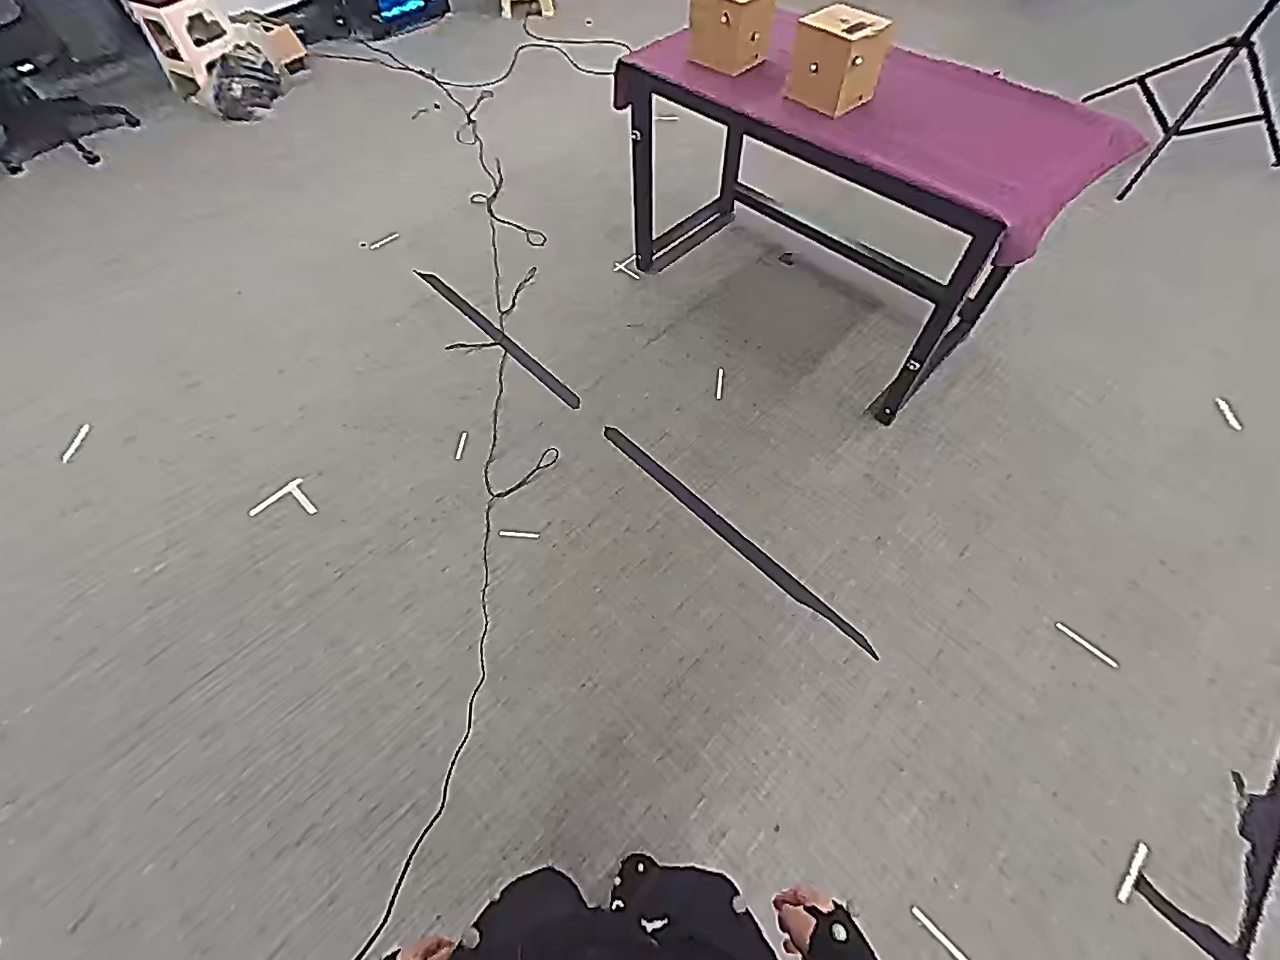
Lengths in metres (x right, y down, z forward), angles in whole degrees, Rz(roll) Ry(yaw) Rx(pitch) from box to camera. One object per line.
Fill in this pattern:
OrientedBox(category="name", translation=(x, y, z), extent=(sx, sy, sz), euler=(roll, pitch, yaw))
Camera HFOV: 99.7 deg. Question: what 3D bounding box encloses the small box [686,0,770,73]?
OrientedBox(category="small box", translation=(0.246, -1.281, 1.520), extent=(0.179, 0.176, 0.168), euler=(37, 65, 22))
